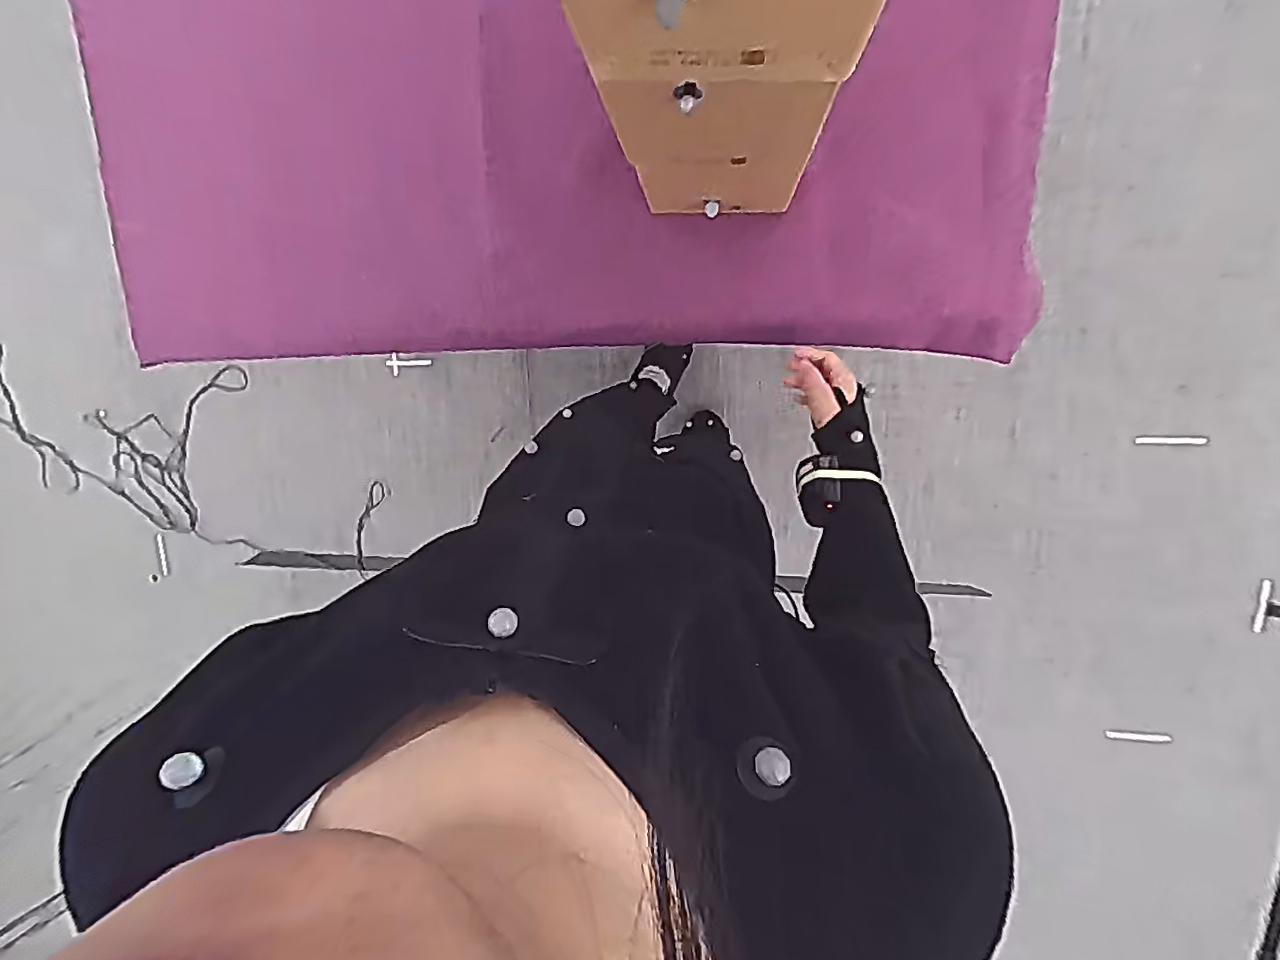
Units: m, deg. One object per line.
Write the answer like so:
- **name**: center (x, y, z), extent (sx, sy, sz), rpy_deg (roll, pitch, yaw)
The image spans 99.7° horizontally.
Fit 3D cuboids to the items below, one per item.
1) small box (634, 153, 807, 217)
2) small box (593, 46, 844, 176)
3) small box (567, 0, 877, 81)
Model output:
- **small box**: center (0.088, -0.397, 0.571), extent (0.168, 0.176, 0.179), rpy_deg (4, 102, 7)
- **small box**: center (0.066, -0.361, 0.412), extent (0.168, 0.176, 0.179), rpy_deg (6, 101, 7)
- **small box**: center (0.045, -0.323, 0.254), extent (0.168, 0.176, 0.179), rpy_deg (6, 101, 7)
